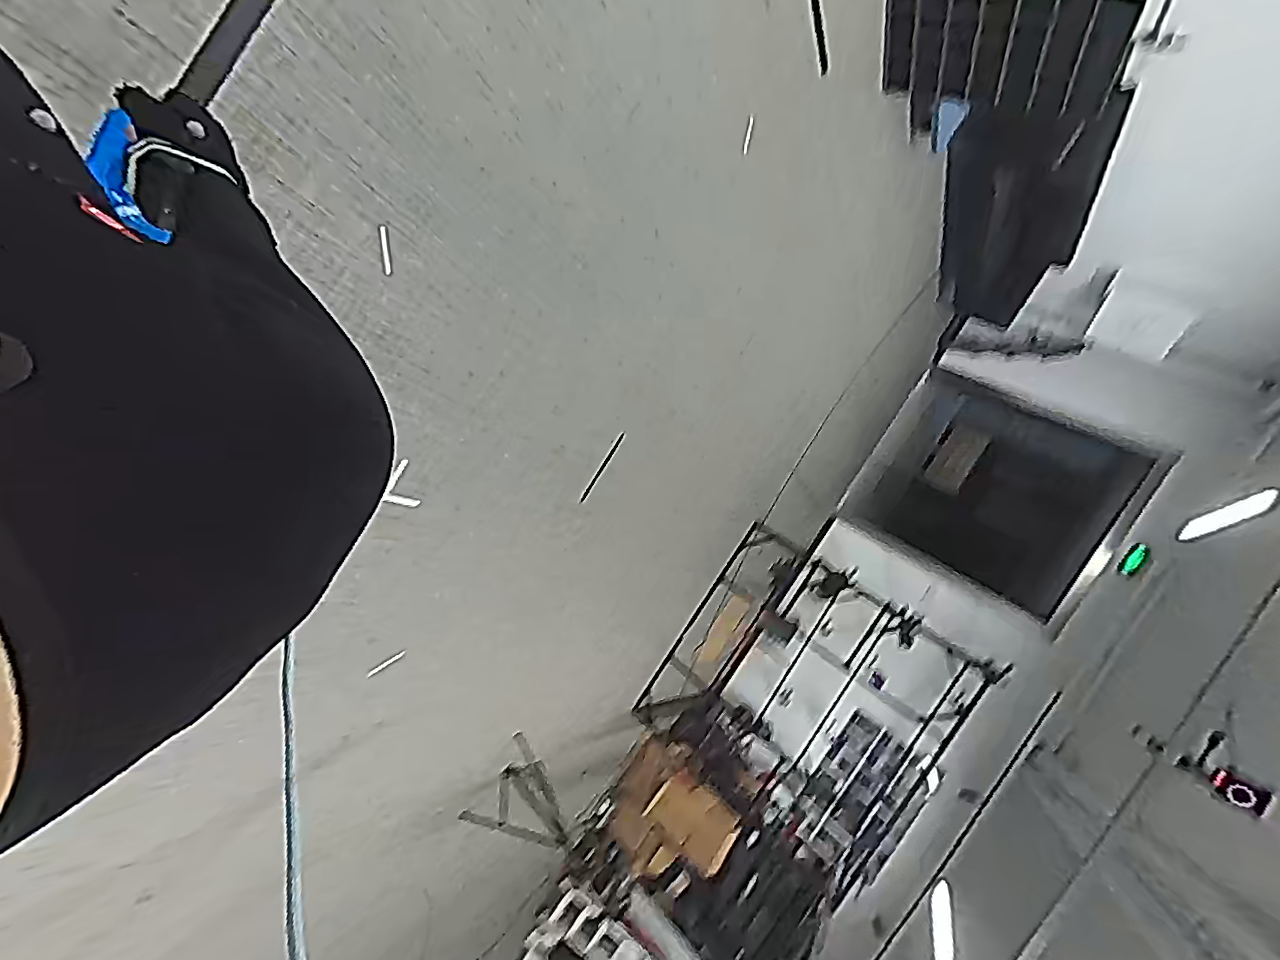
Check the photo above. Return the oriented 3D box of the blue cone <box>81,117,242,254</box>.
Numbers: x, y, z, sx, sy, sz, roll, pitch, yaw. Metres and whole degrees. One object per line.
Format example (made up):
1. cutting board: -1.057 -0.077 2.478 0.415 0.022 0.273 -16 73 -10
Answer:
1. blue cone: -0.811 -0.480 0.963 0.193 0.380 0.192 -59 151 5
